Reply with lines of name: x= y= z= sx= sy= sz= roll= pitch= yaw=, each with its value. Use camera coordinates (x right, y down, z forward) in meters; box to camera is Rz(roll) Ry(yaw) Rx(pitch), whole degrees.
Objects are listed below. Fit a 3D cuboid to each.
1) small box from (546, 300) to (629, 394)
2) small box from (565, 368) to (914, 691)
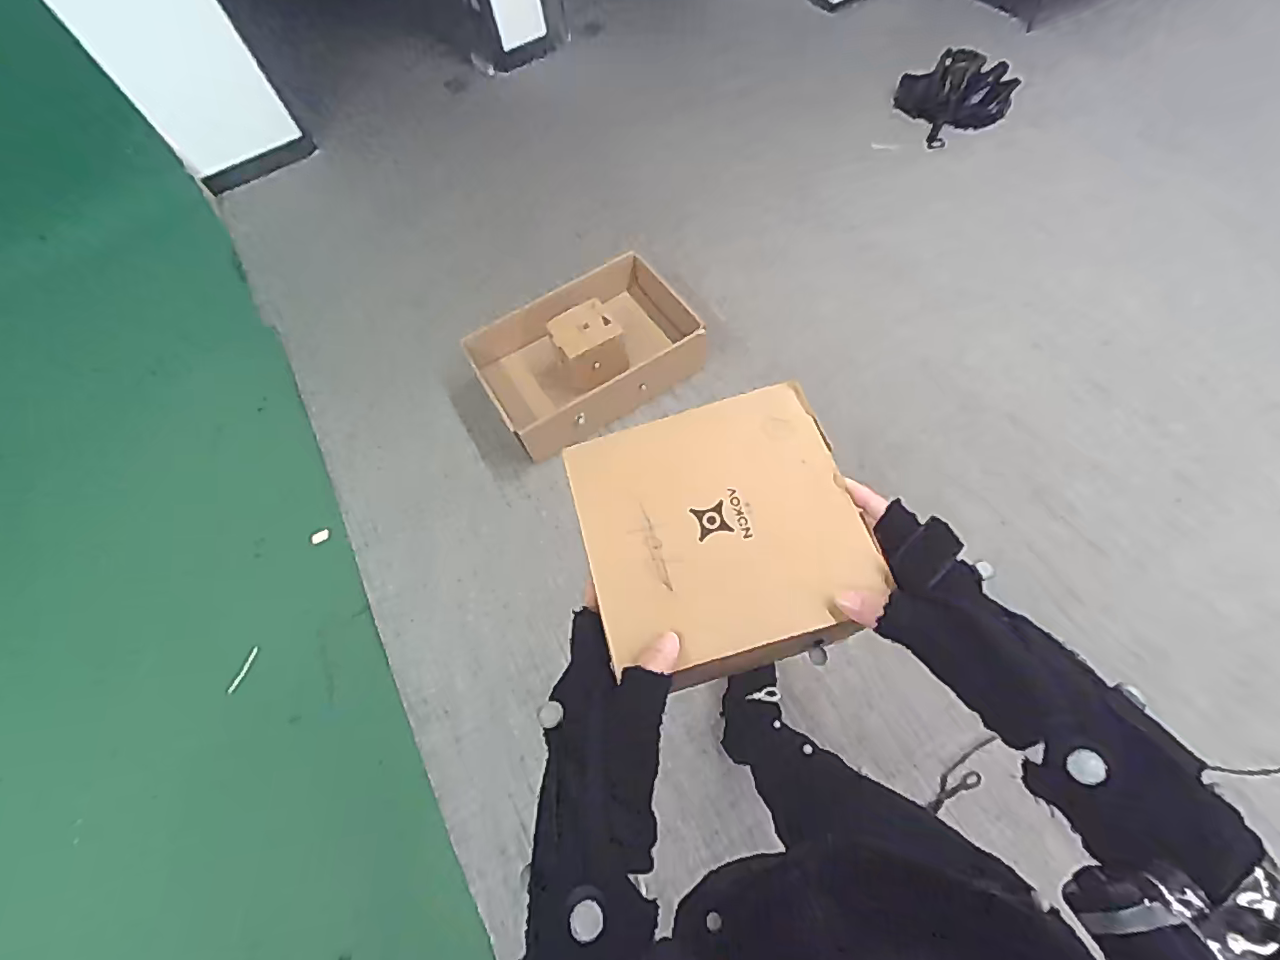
small box: x=-0.150 y=-0.388 z=1.604 sx=0.179 sy=0.176 sz=0.168 roll=-32 pitch=63 yaw=-10
small box: x=0.061 y=0.049 z=0.414 sx=0.179 sy=0.176 sz=0.168 roll=-20 pitch=65 yaw=-3
